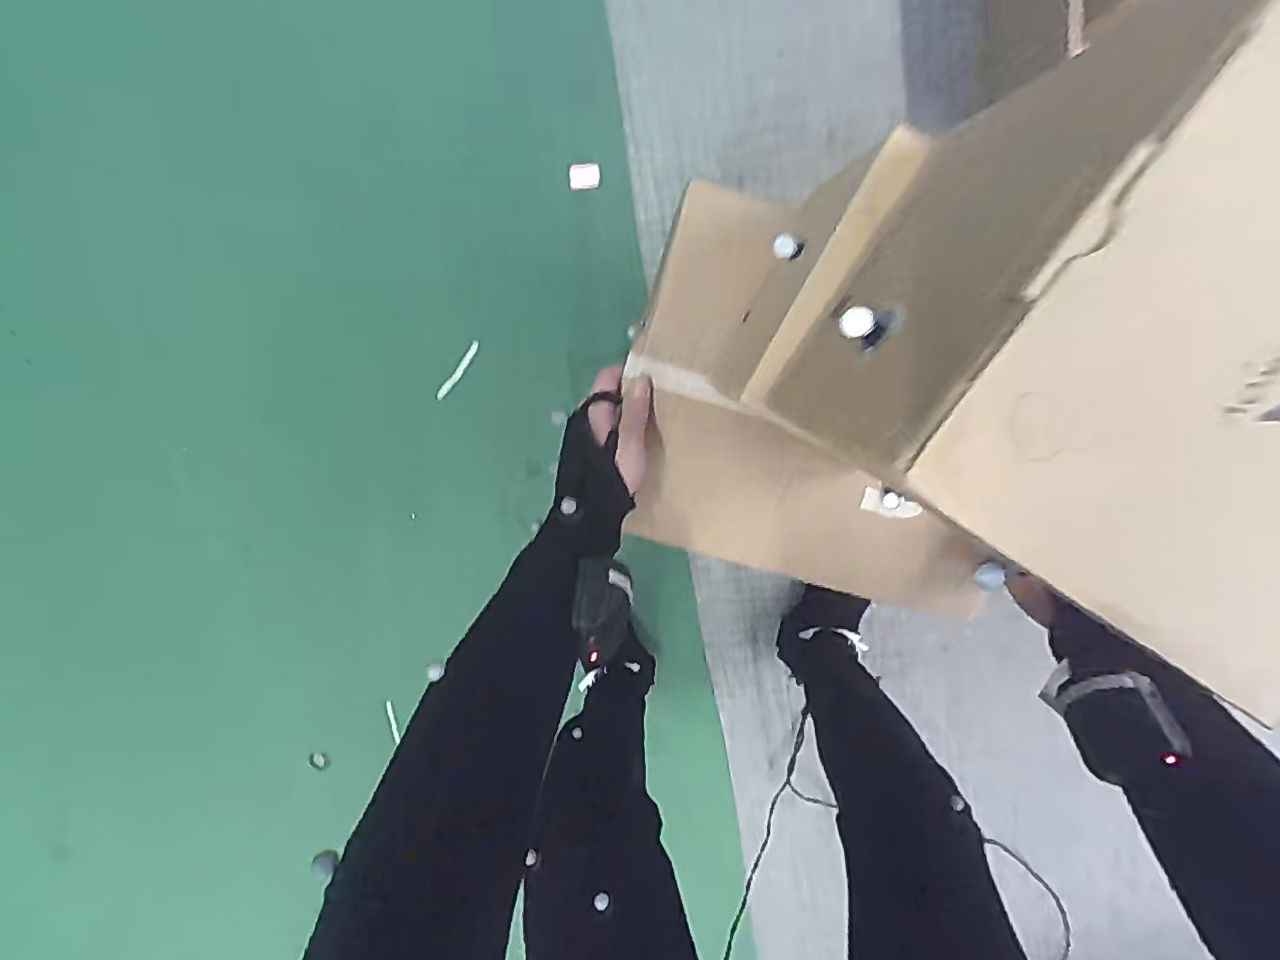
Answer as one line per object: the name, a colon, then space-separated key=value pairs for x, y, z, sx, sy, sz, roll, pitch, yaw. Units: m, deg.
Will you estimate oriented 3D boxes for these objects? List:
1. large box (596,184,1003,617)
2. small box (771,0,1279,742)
large box: x=0.182 y=-0.090 z=0.626 sx=0.408 sy=0.320 sz=0.320 roll=15 pitch=106 yaw=-5
small box: x=0.179 y=-0.044 z=0.218 sx=0.179 sy=0.176 sz=0.168 roll=31 pitch=103 yaw=-9
